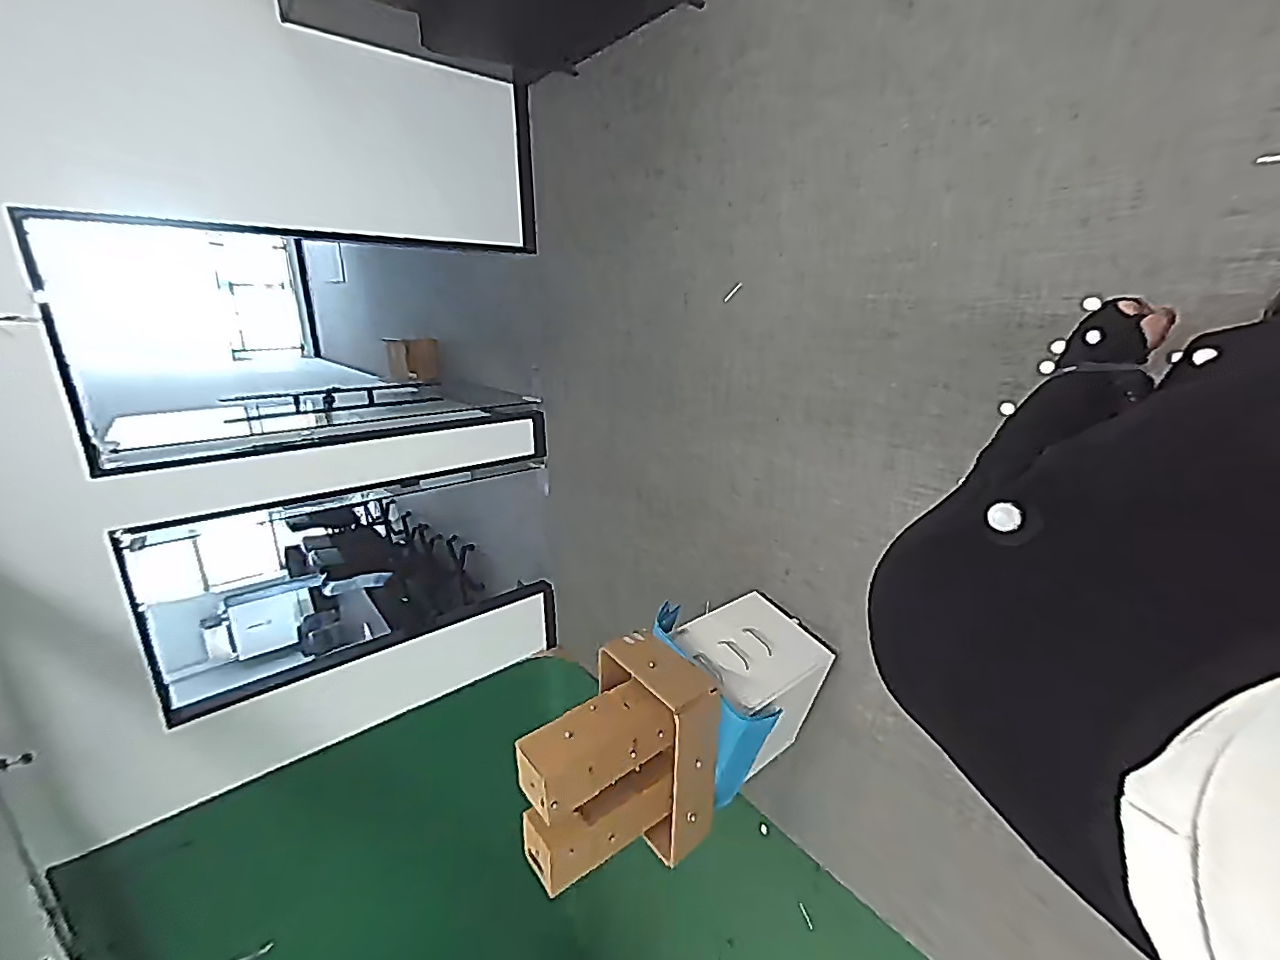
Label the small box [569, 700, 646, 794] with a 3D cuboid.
[{"bbox_3d":[-0.100,0.803,1.649,0.179,0.176,0.168,20,118,49],"label":"small box"}]

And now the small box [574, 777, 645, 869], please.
[{"bbox_3d":[-0.096,1.069,1.723,0.168,0.176,0.179,20,114,48],"label":"small box"}]

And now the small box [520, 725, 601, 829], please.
[{"bbox_3d":[-0.228,0.839,1.555,0.179,0.176,0.168,20,118,50],"label":"small box"}]
